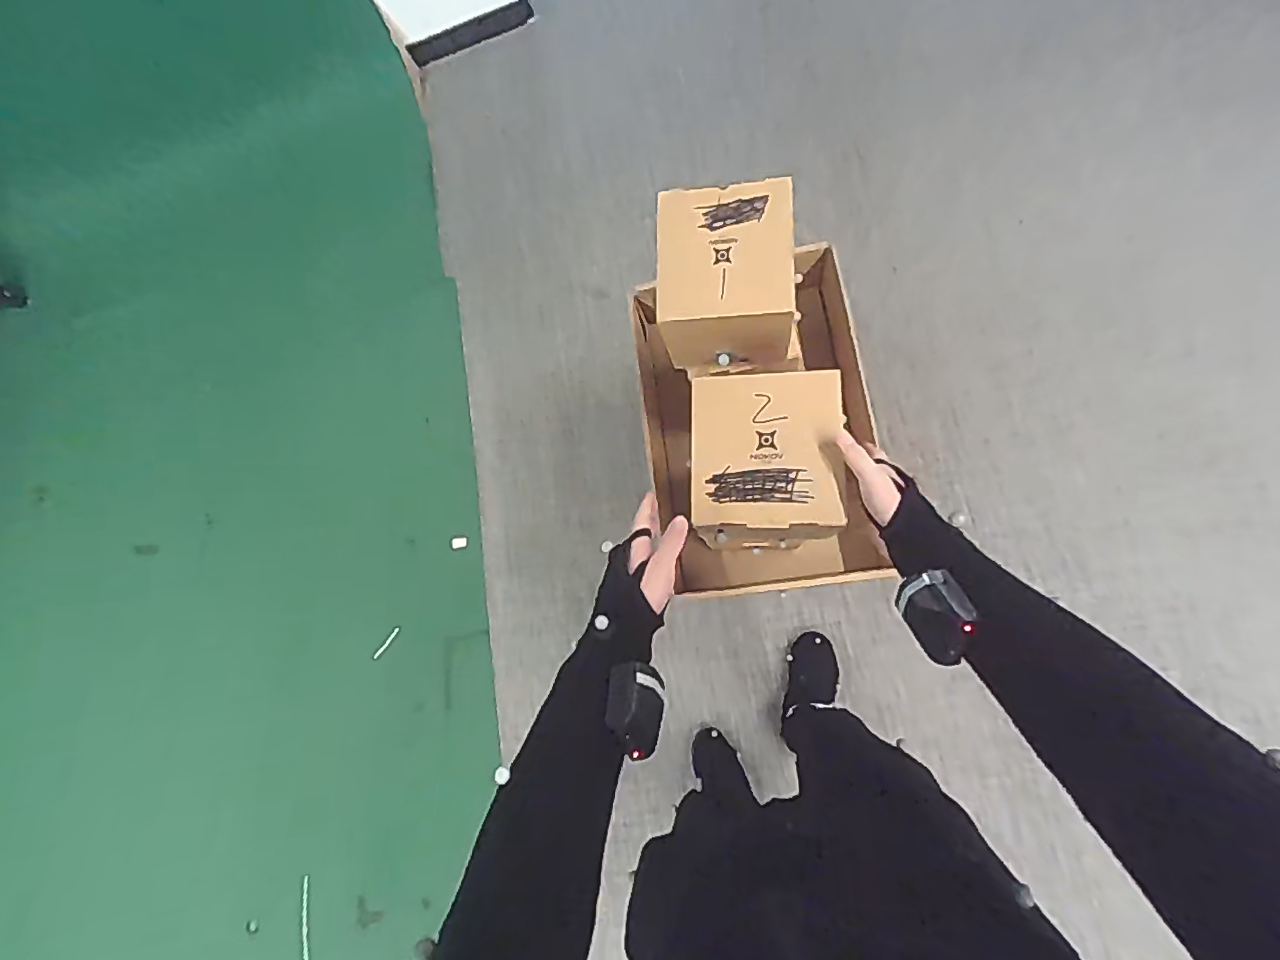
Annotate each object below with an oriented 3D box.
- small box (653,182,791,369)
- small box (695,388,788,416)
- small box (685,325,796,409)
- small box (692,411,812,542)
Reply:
[{"bbox_3d":[0.113,-0.264,0.734,0.168,0.176,0.179,-1,82,12],"label":"small box"},{"bbox_3d":[0.185,-0.210,1.048,0.168,0.176,0.179,-10,79,11],"label":"small box"},{"bbox_3d":[0.152,-0.234,0.891,0.168,0.176,0.179,-10,80,10],"label":"small box"},{"bbox_3d":[0.172,0.004,0.839,0.168,0.176,0.179,-2,78,11],"label":"small box"}]
